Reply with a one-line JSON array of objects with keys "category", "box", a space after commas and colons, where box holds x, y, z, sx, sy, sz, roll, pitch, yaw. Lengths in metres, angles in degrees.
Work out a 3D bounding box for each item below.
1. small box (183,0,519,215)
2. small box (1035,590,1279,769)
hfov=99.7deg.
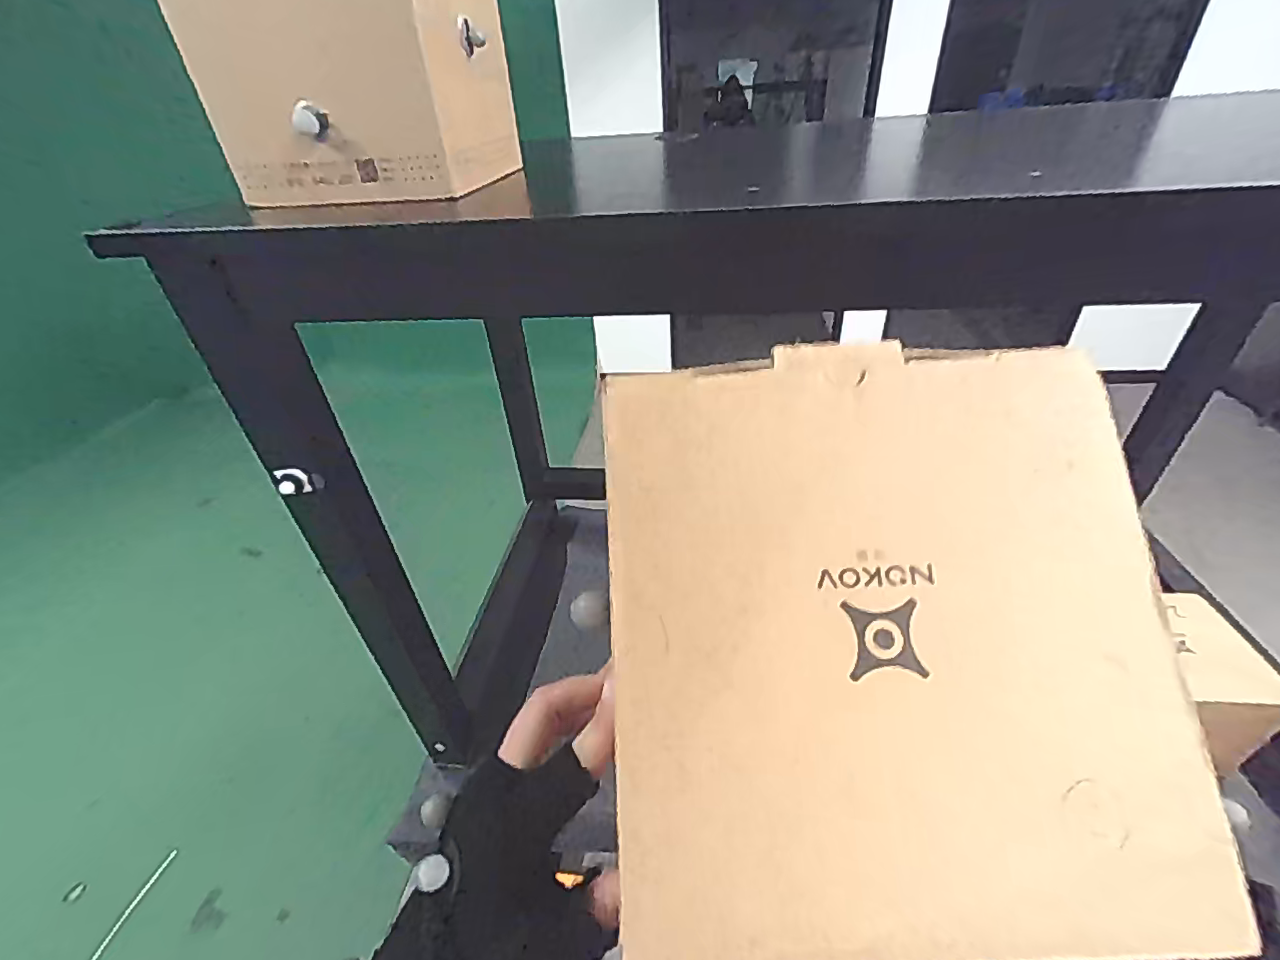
[{"category": "small box", "box": [-0.202, -0.312, 0.415, 0.168, 0.176, 0.179, 1, 37, 6]}, {"category": "small box", "box": [0.701, 0.275, 0.752, 0.168, 0.176, 0.179, 1, 36, 6]}]
